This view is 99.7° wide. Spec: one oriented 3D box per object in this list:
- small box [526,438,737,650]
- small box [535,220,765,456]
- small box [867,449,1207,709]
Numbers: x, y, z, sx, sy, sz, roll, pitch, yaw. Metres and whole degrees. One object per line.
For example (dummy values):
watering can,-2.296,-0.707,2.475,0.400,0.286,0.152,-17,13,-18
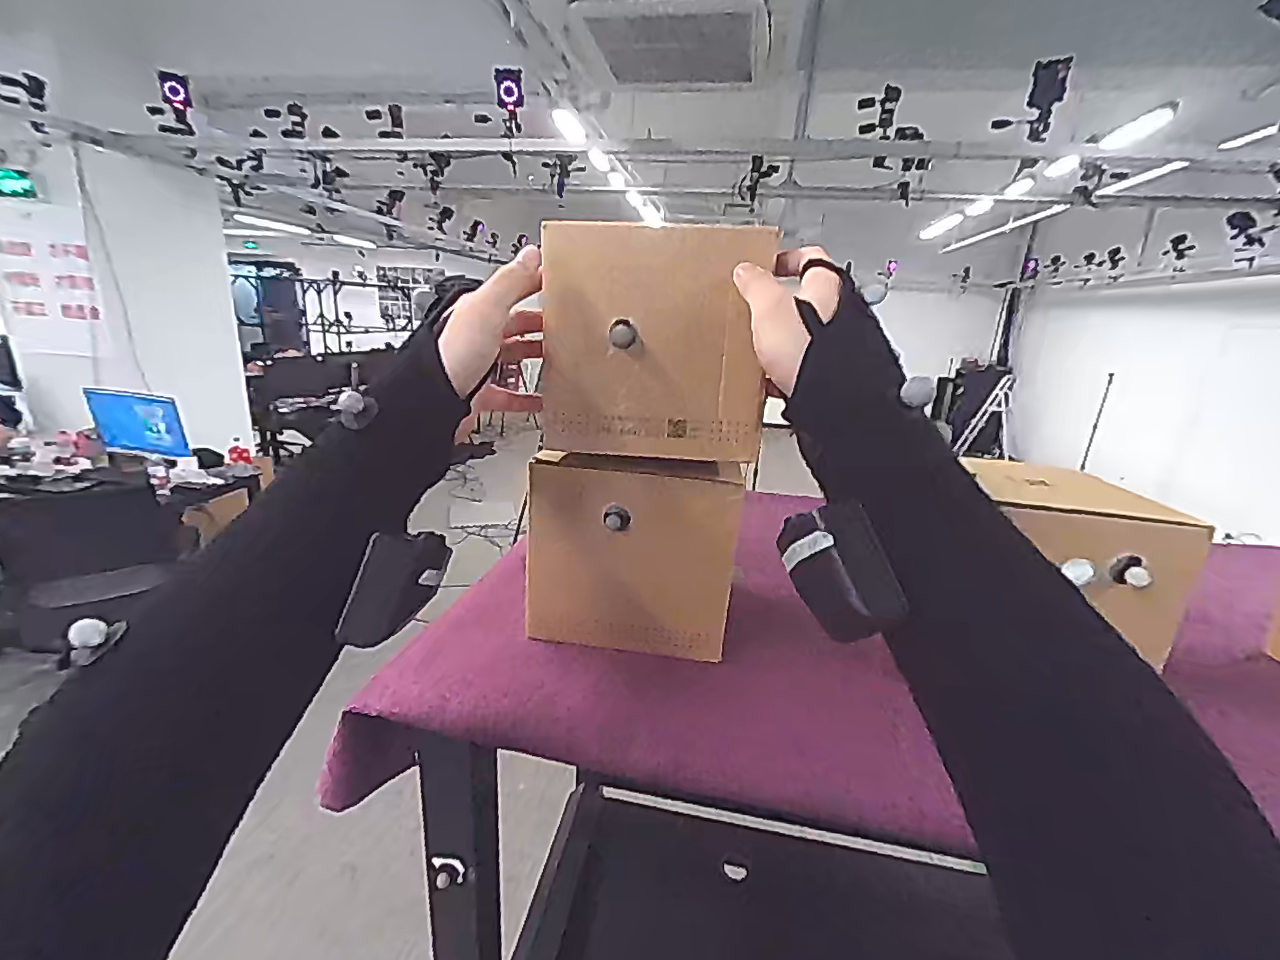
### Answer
small box,-0.004,0.045,0.529,0.179,0.176,0.168,6,17,6
small box,0.014,-0.119,0.475,0.168,0.176,0.179,3,14,5
small box,0.324,0.078,0.488,0.179,0.176,0.168,6,15,10
